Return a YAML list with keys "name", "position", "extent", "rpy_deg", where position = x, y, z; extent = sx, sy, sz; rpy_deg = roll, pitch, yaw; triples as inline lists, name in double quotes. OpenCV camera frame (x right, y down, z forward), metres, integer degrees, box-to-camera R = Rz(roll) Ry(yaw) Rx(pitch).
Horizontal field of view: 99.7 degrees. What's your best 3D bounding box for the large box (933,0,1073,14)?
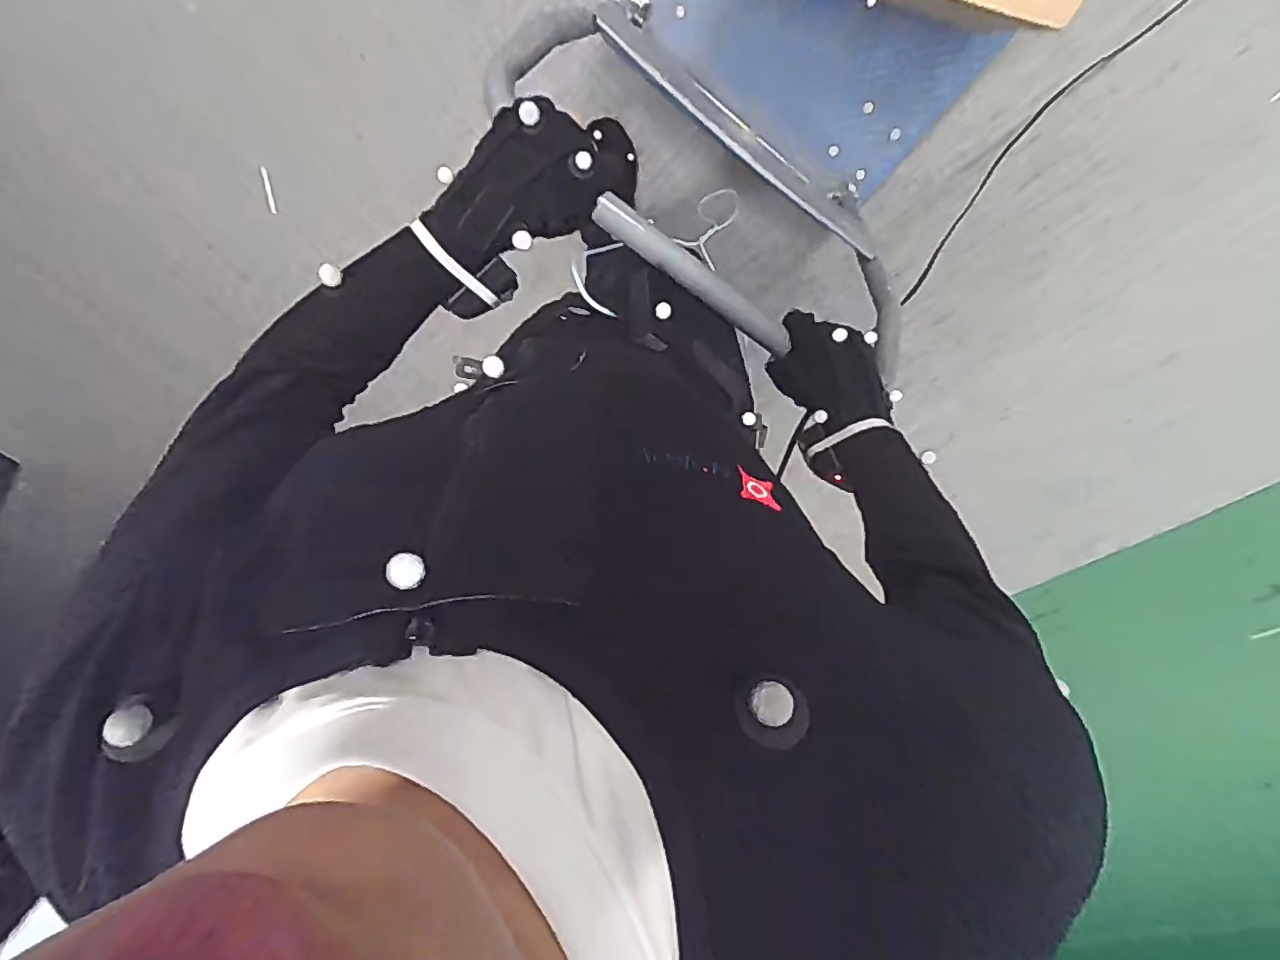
- name: "large box"
  position: [0.365, -0.802, 0.645]
  extent: [0.408, 0.320, 0.320]
  rpy_deg: [15, 130, -1]
